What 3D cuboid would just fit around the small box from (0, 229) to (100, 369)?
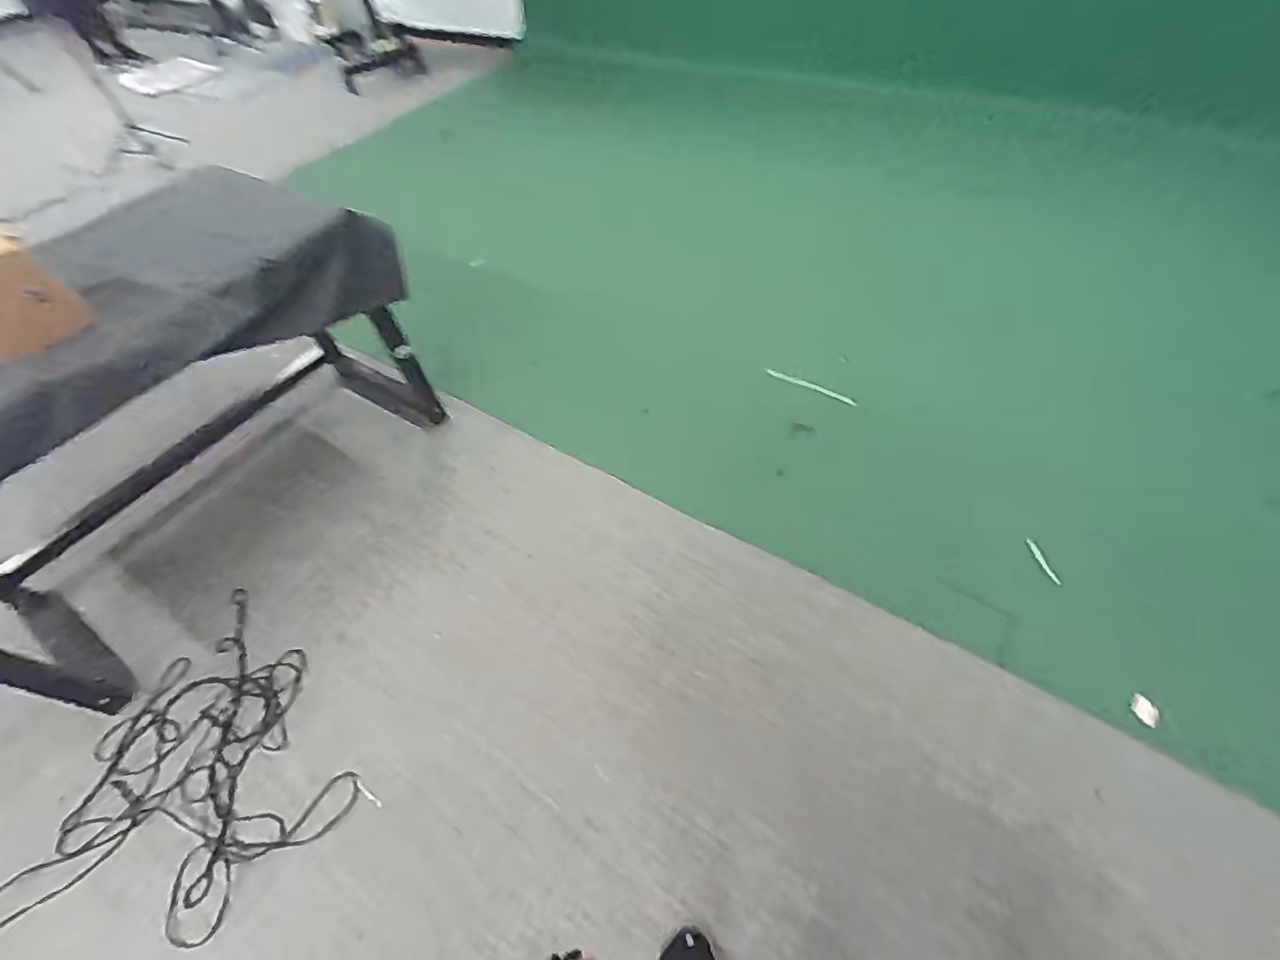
[{"bbox_3d":[-1.212,-0.350,1.049,0.168,0.176,0.179,33,64,29],"label":"small box"}]
